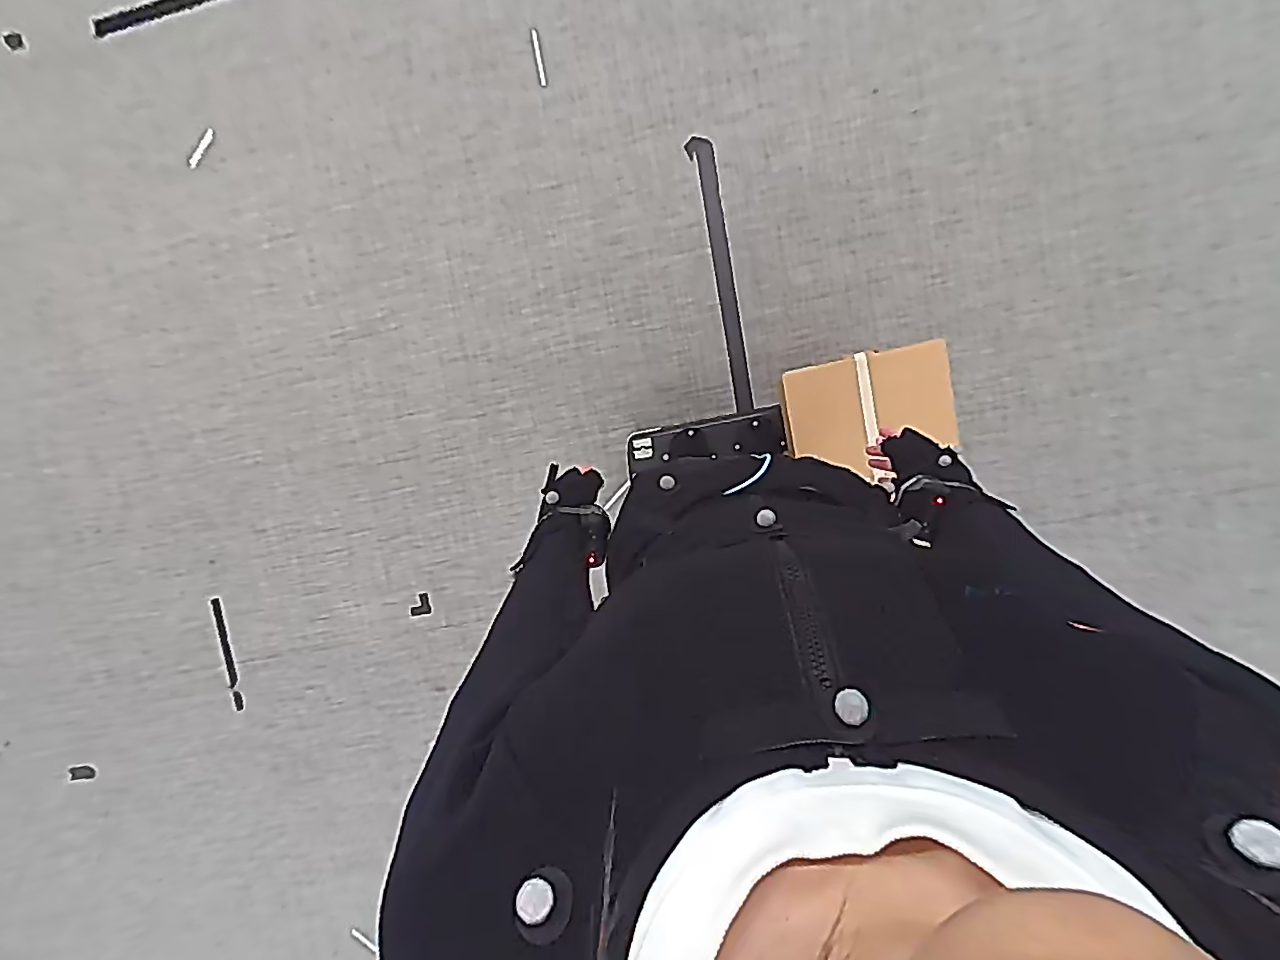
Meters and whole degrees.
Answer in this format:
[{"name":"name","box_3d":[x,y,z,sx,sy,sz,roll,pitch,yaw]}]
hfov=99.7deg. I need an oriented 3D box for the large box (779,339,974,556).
[{"name":"large box","box_3d":[0.516,-0.079,1.243,0.320,0.320,0.408,-10,97,15]}]
